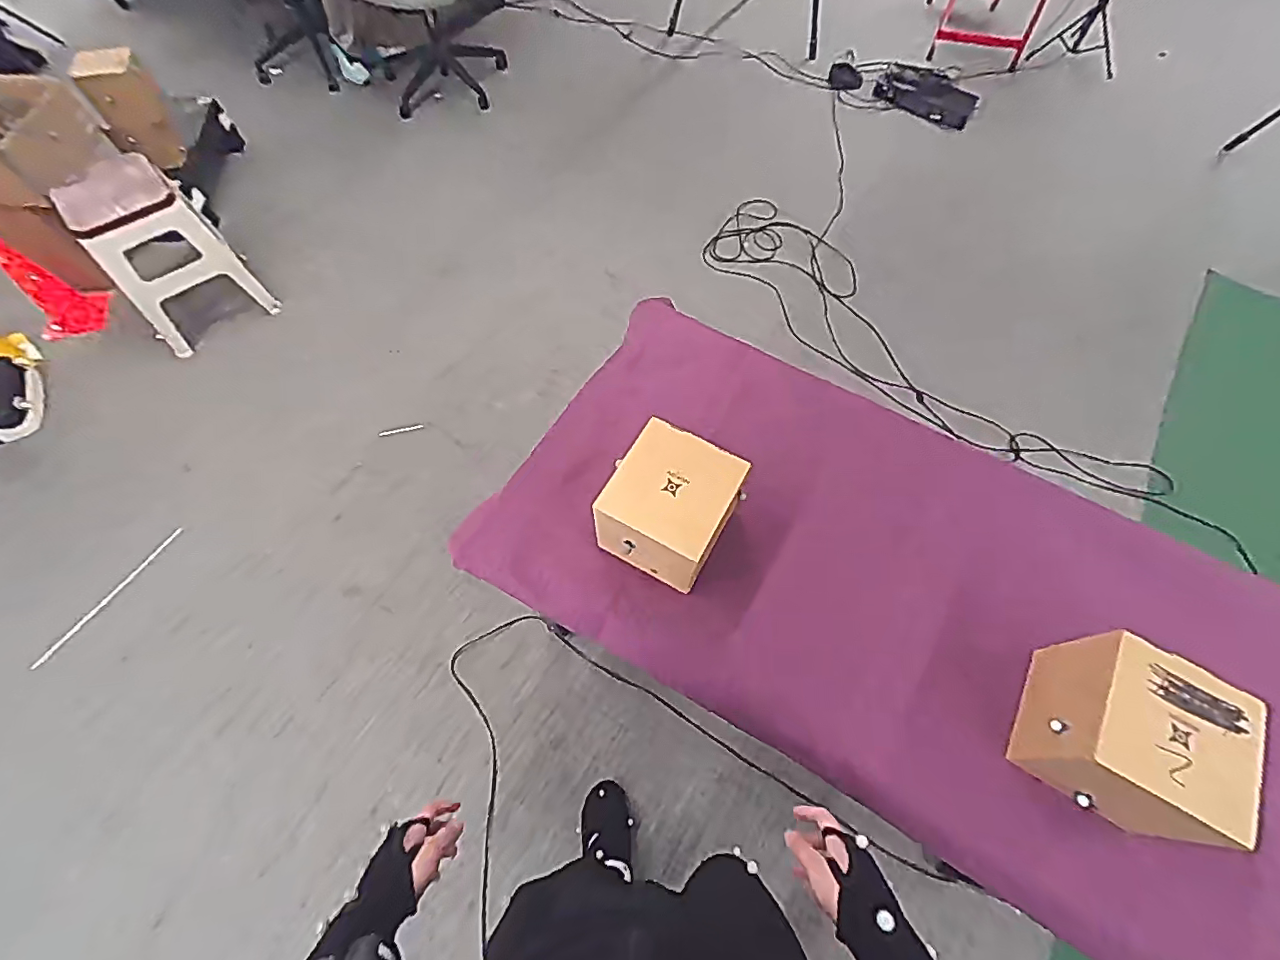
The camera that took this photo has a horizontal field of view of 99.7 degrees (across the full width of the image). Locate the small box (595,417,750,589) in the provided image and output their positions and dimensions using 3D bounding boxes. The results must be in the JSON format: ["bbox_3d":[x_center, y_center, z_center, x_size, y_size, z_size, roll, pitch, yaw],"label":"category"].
[{"bbox_3d":[0.048,0.043,0.830,0.168,0.176,0.179,27,64,12],"label":"small box"}]
